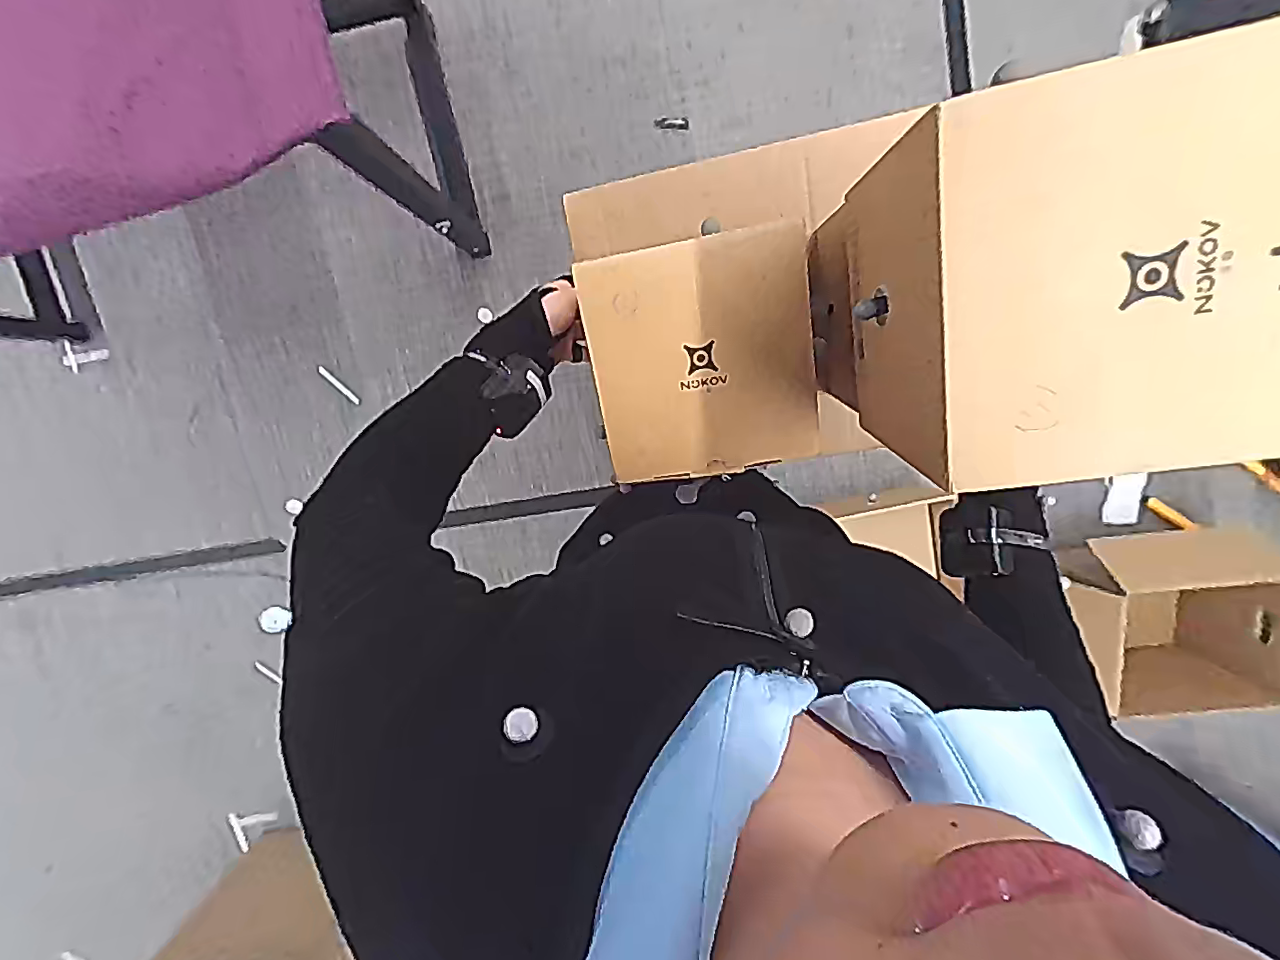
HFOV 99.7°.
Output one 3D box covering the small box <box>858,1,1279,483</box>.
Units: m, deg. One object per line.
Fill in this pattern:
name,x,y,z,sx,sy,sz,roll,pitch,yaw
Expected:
small box,0.223,-0.106,0.286,0.179,0.176,0.168,-7,105,10
